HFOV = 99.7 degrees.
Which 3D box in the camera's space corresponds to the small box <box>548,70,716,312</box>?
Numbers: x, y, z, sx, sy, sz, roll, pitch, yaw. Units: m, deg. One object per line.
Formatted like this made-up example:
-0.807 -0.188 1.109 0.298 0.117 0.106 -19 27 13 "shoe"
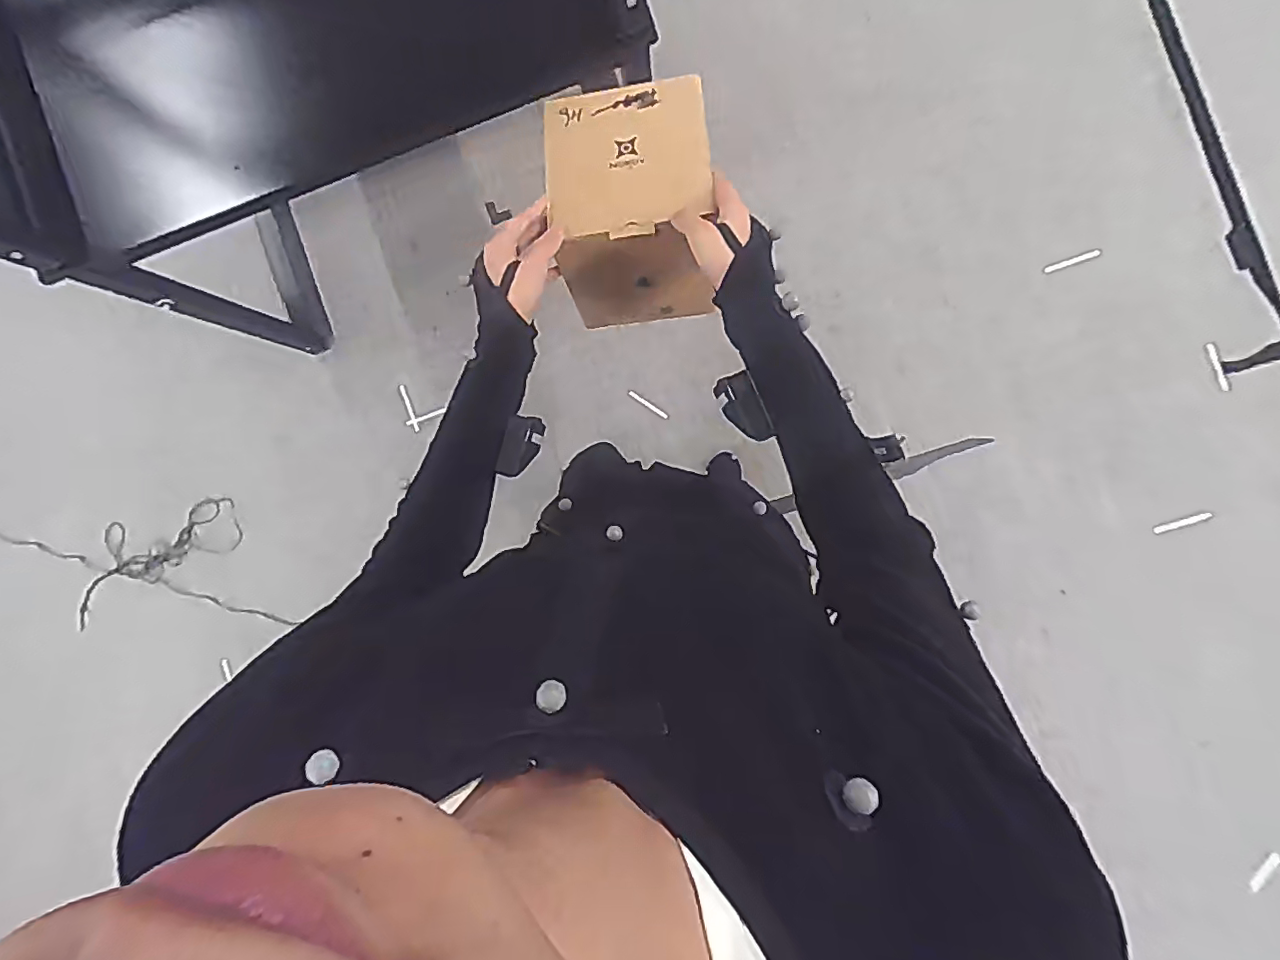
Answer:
-0.001 -0.307 0.613 0.168 0.176 0.179 -4 76 6 "small box"
